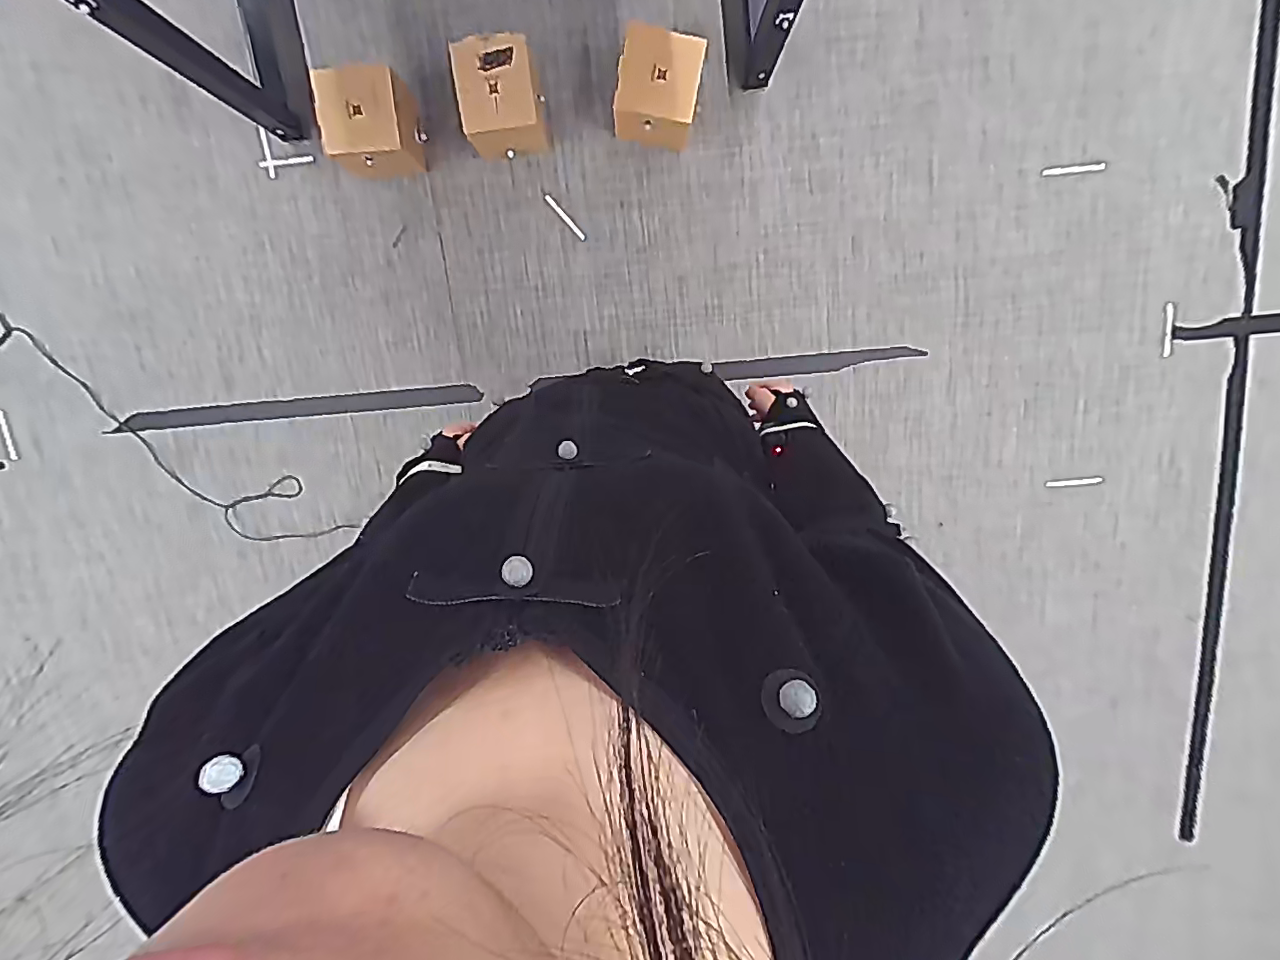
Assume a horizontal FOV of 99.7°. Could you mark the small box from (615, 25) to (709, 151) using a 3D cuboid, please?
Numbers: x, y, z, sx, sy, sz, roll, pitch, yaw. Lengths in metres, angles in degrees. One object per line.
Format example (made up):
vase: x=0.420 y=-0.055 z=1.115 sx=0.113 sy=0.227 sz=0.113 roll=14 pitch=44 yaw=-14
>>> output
small box: x=0.047 y=-0.881 z=1.235 sx=0.179 sy=0.176 sz=0.168 roll=12 pitch=102 yaw=-1

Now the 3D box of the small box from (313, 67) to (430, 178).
small box: x=-0.611 y=-0.817 z=1.250 sx=0.179 sy=0.176 sz=0.168 roll=-3 pitch=102 yaw=0

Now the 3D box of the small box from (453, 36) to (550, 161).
small box: x=-0.309 y=-0.863 z=1.238 sx=0.168 sy=0.176 sz=0.179 roll=-6 pitch=102 yaw=2
